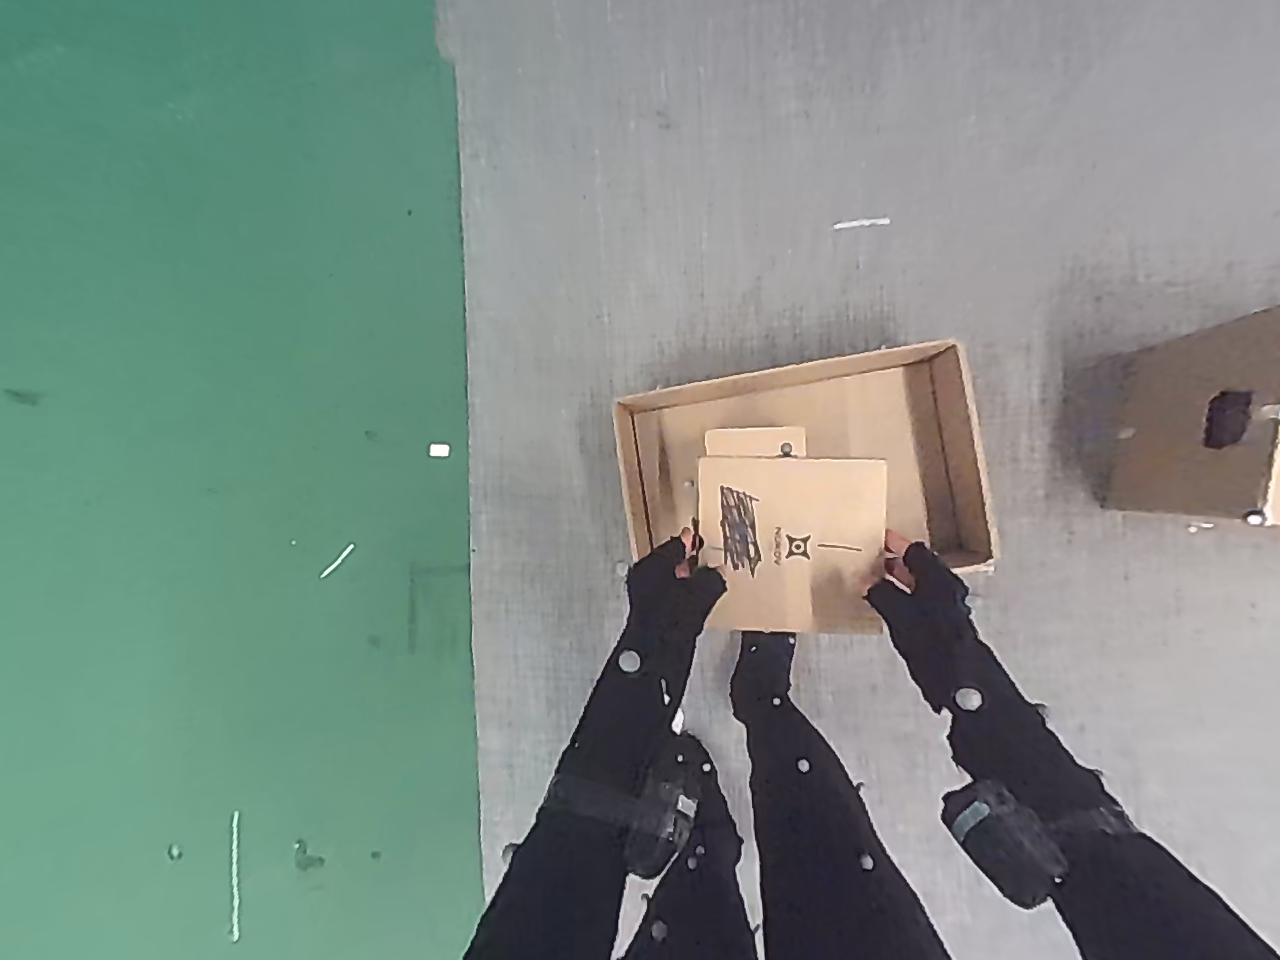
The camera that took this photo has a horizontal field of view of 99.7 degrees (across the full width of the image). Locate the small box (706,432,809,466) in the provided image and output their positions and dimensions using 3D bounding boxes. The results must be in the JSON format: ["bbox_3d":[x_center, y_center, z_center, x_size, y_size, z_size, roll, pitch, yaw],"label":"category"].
[{"bbox_3d":[0.218,0.002,1.023,0.179,0.176,0.168,-2,89,7],"label":"small box"}]

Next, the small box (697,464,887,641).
[{"bbox_3d":[0.152,0.068,0.595,0.179,0.176,0.168,1,91,5],"label":"small box"}]
